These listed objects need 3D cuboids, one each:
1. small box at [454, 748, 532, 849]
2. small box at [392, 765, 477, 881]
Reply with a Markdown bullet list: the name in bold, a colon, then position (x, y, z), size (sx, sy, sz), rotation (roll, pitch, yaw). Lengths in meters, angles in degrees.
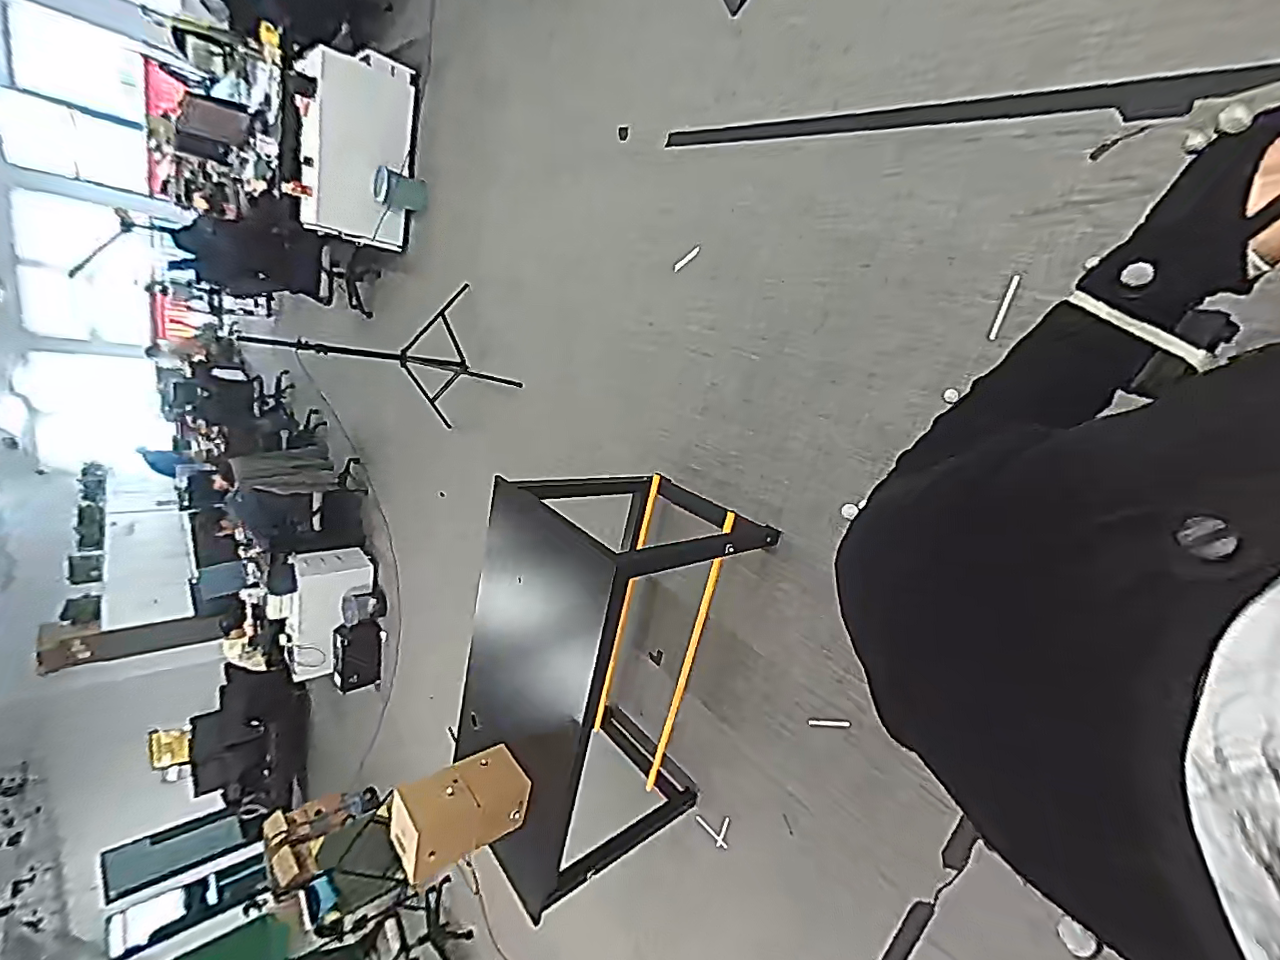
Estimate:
- **small box**: position (-0.446, 0.928, 1.602), size (0.179, 0.176, 0.168), rotation (28, 113, 42)
- **small box**: position (-0.565, 0.934, 1.488), size (0.168, 0.176, 0.179), rotation (28, 112, 43)
